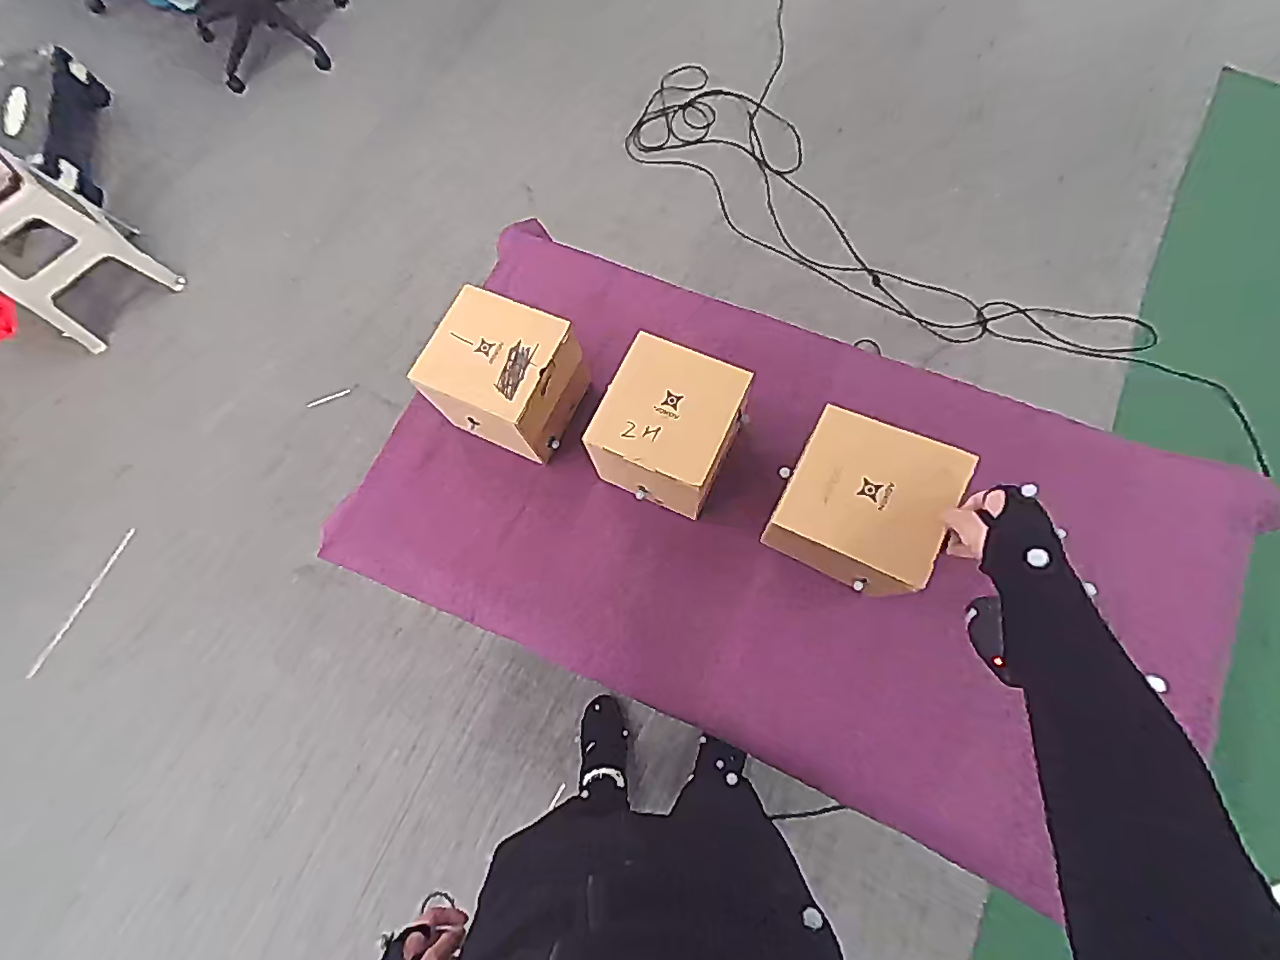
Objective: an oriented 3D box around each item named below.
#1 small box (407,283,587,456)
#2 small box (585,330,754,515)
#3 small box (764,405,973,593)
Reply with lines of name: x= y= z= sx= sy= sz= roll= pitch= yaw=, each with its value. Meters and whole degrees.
small box: x=-0.197 y=-0.153 z=0.805 sx=0.179 sy=0.176 sz=0.168 roll=23 pitch=76 yaw=11
small box: x=0.042 y=-0.072 z=0.764 sx=0.168 sy=0.176 sz=0.179 roll=24 pitch=77 yaw=11
small box: x=0.277 y=0.034 z=0.696 sx=0.179 sy=0.176 sz=0.168 roll=26 pitch=80 yaw=14
